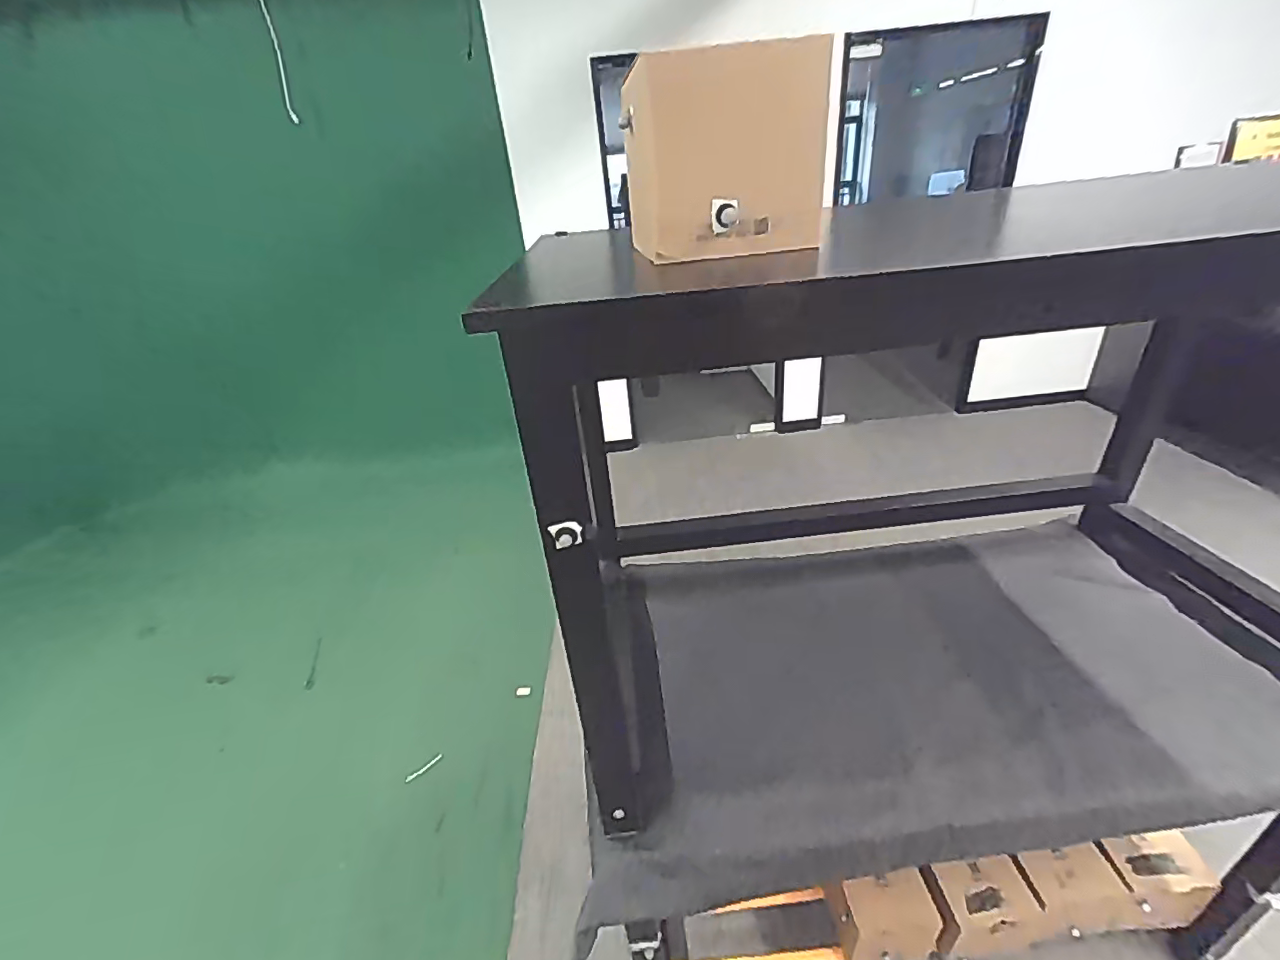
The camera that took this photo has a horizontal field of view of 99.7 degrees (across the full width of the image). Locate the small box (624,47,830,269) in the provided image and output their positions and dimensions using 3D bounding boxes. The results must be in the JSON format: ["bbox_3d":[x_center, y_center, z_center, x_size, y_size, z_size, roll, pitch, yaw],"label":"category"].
[{"bbox_3d":[0.078,-0.323,0.564,0.168,0.176,0.179,-9,30,-4],"label":"small box"}]
